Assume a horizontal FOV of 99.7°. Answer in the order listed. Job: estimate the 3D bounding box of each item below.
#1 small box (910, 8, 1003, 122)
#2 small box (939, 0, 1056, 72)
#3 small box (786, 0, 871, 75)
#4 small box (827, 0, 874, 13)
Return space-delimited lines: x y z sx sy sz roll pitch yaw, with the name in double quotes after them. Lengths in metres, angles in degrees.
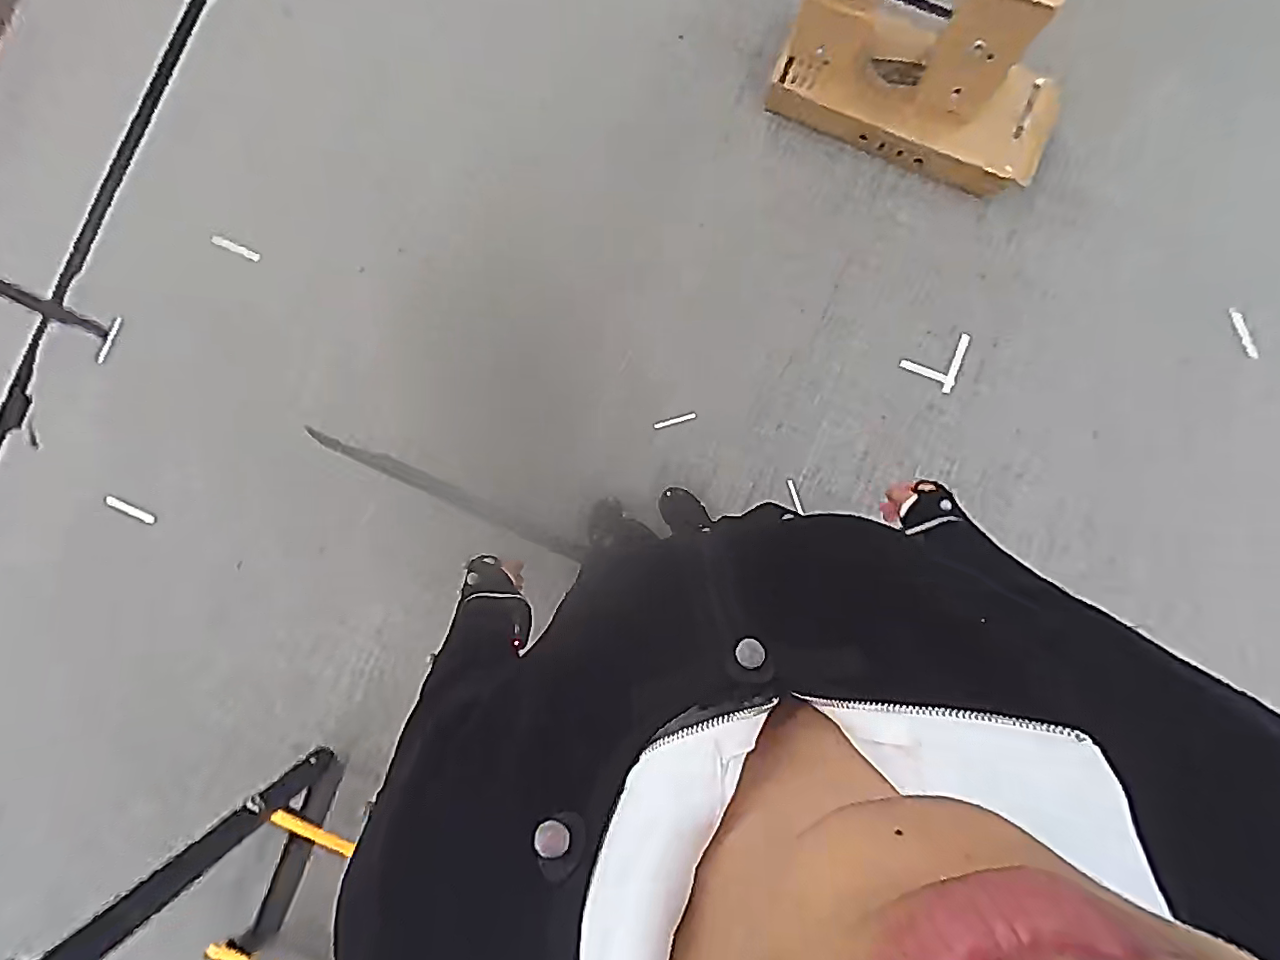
0.811 -1.055 1.361 0.168 0.176 0.179 21 88 3 "small box"
0.801 -1.066 1.198 0.168 0.176 0.179 18 88 2 "small box"
0.488 -1.189 1.365 0.168 0.176 0.179 22 87 1 "small box"
0.493 -1.212 1.202 0.168 0.176 0.179 21 88 1 "small box"
